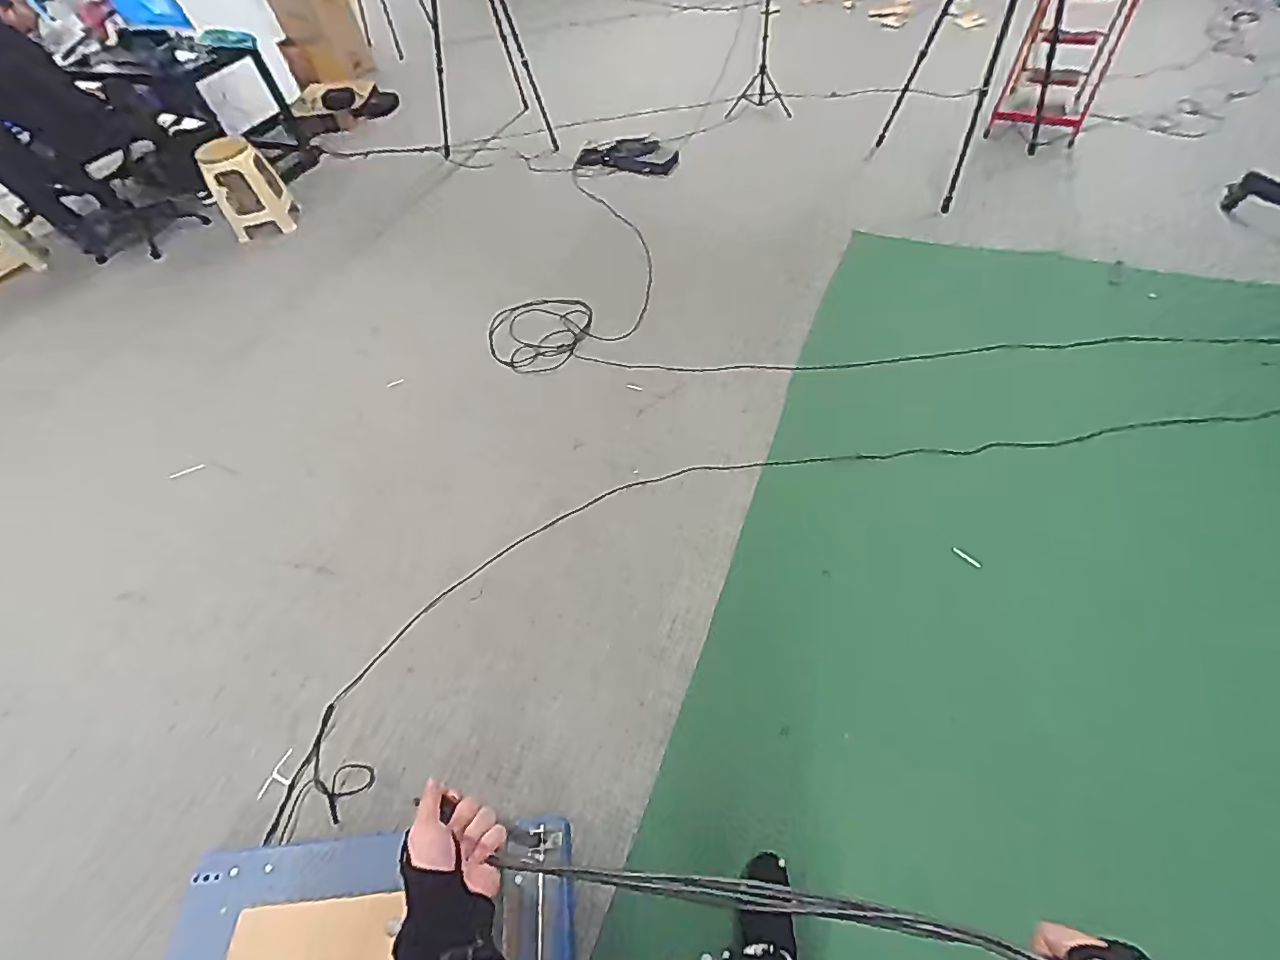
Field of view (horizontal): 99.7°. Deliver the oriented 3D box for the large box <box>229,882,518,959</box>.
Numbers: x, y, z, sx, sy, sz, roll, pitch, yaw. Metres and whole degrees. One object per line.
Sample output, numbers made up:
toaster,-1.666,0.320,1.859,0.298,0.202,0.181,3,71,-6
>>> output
large box,-0.454,0.920,0.948,0.408,0.320,0.320,-8,53,3
